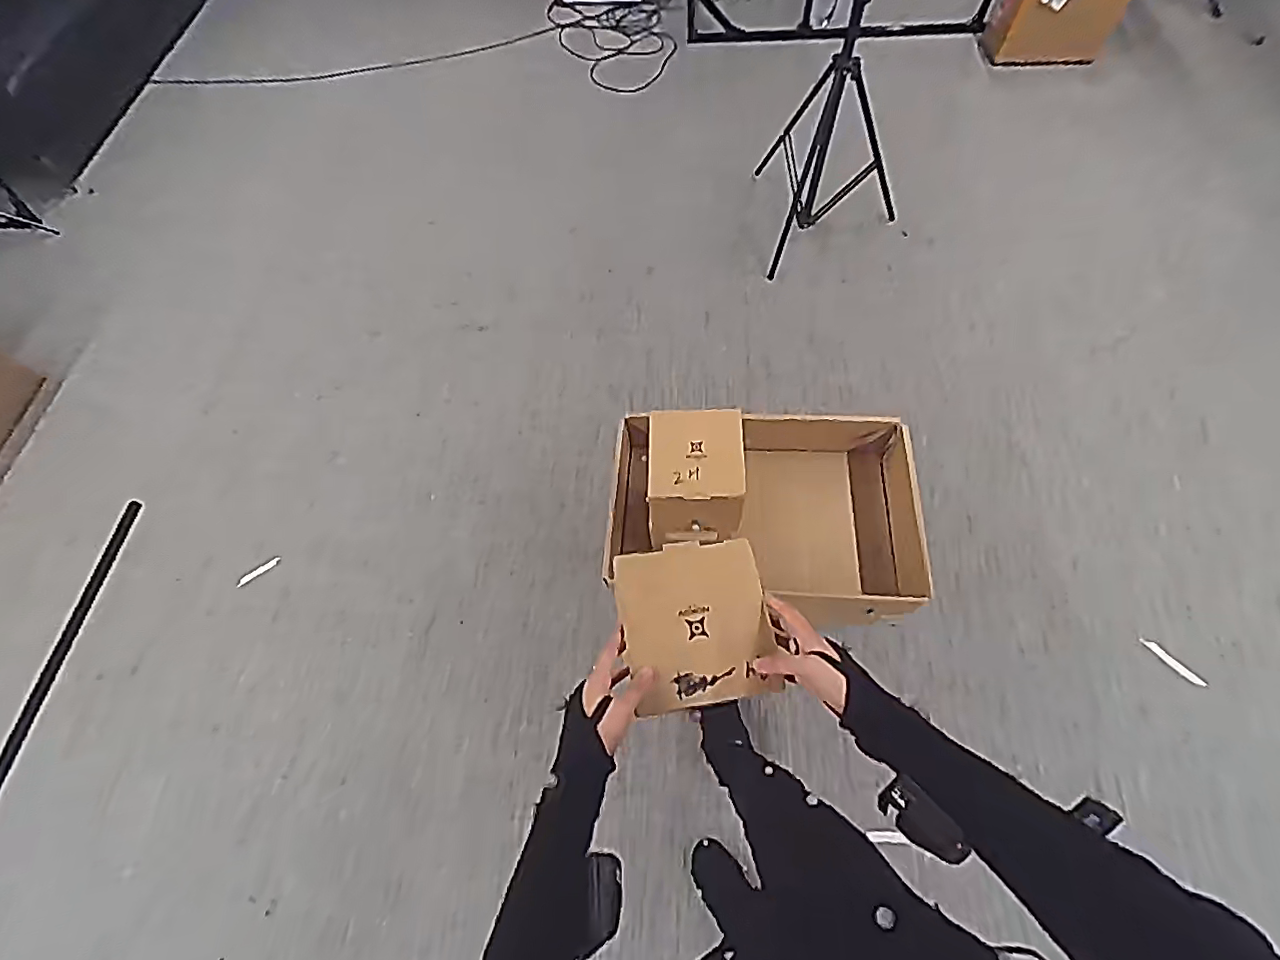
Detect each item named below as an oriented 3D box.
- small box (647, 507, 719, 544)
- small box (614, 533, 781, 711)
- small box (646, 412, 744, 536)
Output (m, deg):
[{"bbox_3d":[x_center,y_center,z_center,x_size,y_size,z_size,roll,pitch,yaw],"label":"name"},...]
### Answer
[{"bbox_3d":[0.106,0.059,1.152,0.168,0.176,0.179,1,63,5],"label":"small box"},{"bbox_3d":[0.056,0.183,0.676,0.168,0.176,0.179,-7,66,-5],"label":"small box"},{"bbox_3d":[0.100,-0.008,1.002,0.168,0.176,0.179,-1,64,5],"label":"small box"}]
